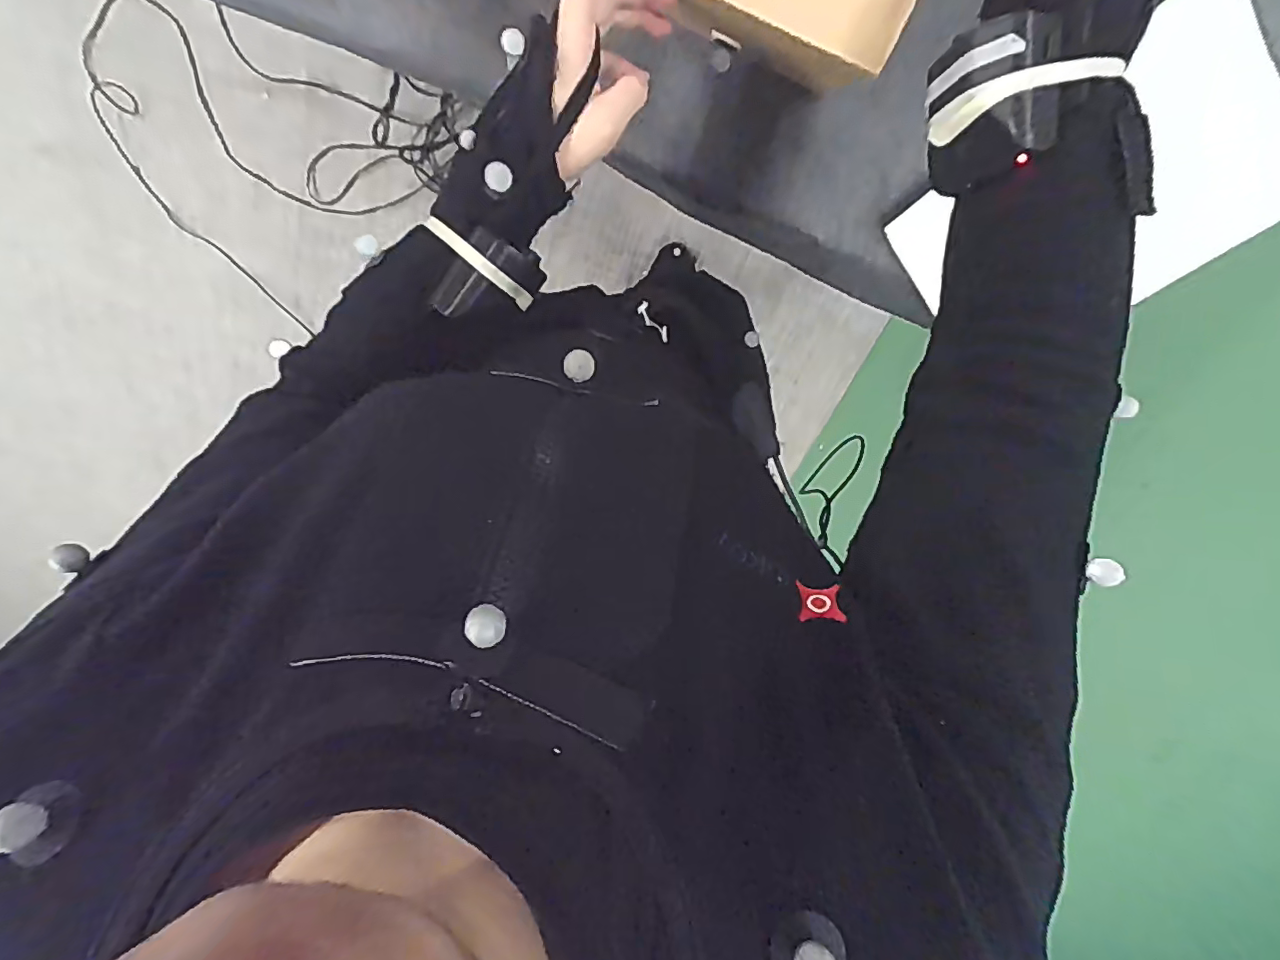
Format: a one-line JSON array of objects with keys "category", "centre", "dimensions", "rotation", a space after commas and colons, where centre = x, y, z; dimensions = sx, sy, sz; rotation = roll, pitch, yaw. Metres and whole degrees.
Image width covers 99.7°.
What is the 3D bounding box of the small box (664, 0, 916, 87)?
[{"category": "small box", "centre": [0.105, -0.375, 0.327], "dimensions": [0.168, 0.176, 0.179], "rotation": [22, 123, -4]}]
